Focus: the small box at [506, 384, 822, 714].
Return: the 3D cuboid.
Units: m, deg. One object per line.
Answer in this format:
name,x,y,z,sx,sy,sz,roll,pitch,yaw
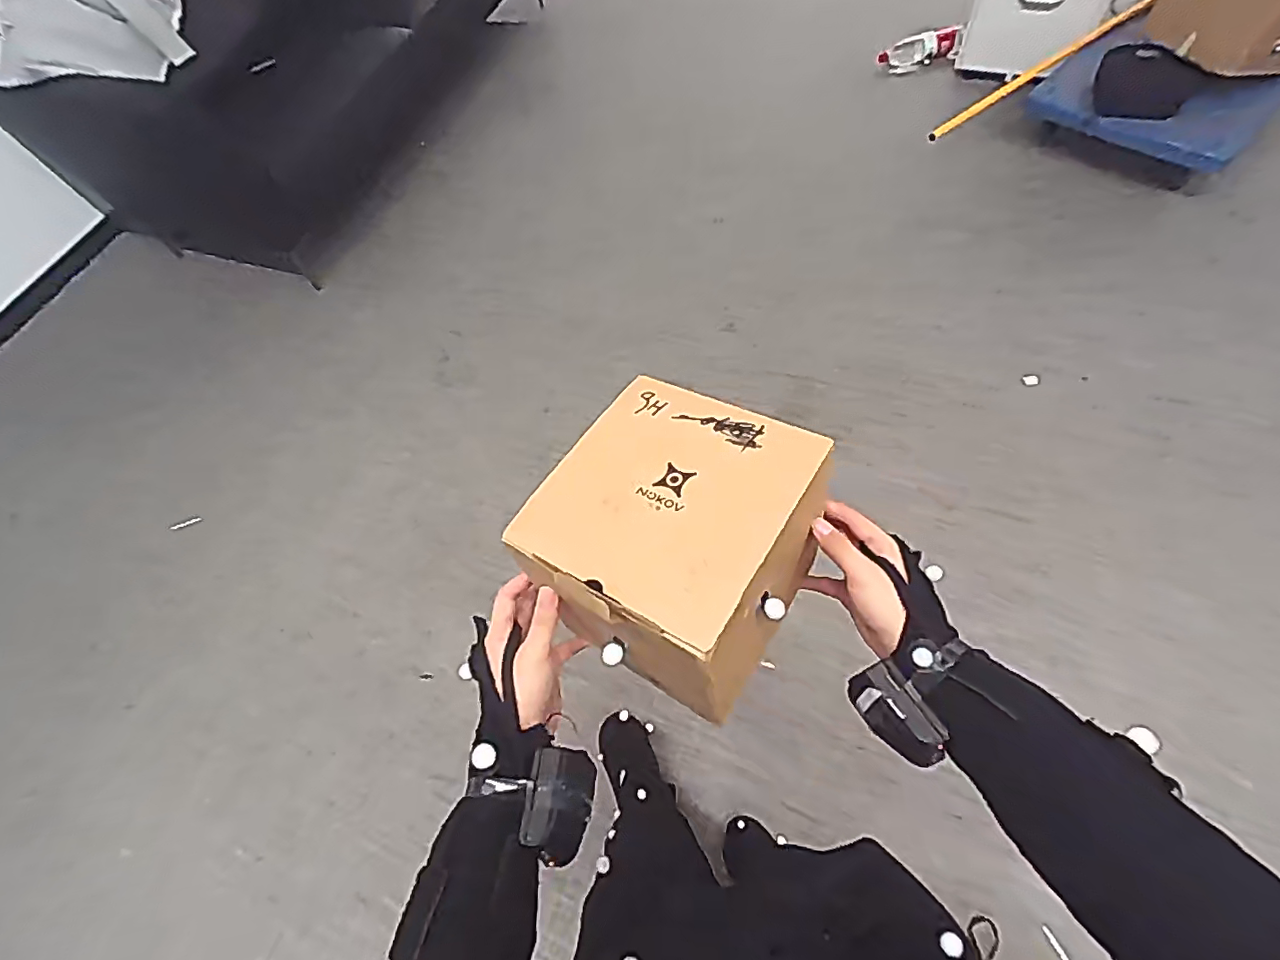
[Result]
small box,0.032,0.058,0.440,0.168,0.176,0.179,24,63,27
